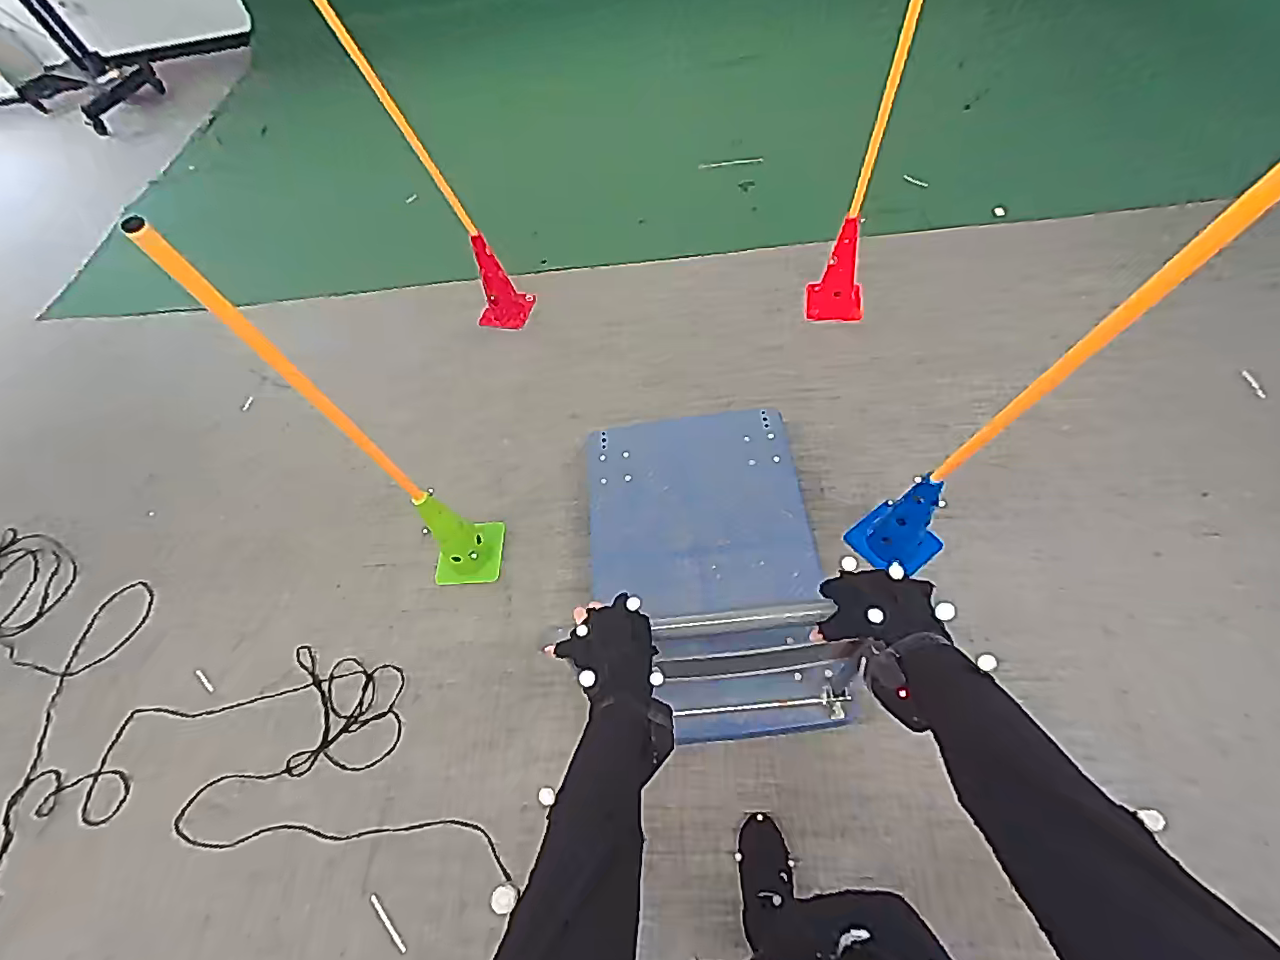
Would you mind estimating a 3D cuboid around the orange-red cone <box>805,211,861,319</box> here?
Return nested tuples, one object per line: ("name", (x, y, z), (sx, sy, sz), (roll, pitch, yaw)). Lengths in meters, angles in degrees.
("orange-red cone", (0.703, -0.763, 1.886), (0.198, 0.360, 0.199), (6, 61, 12))
